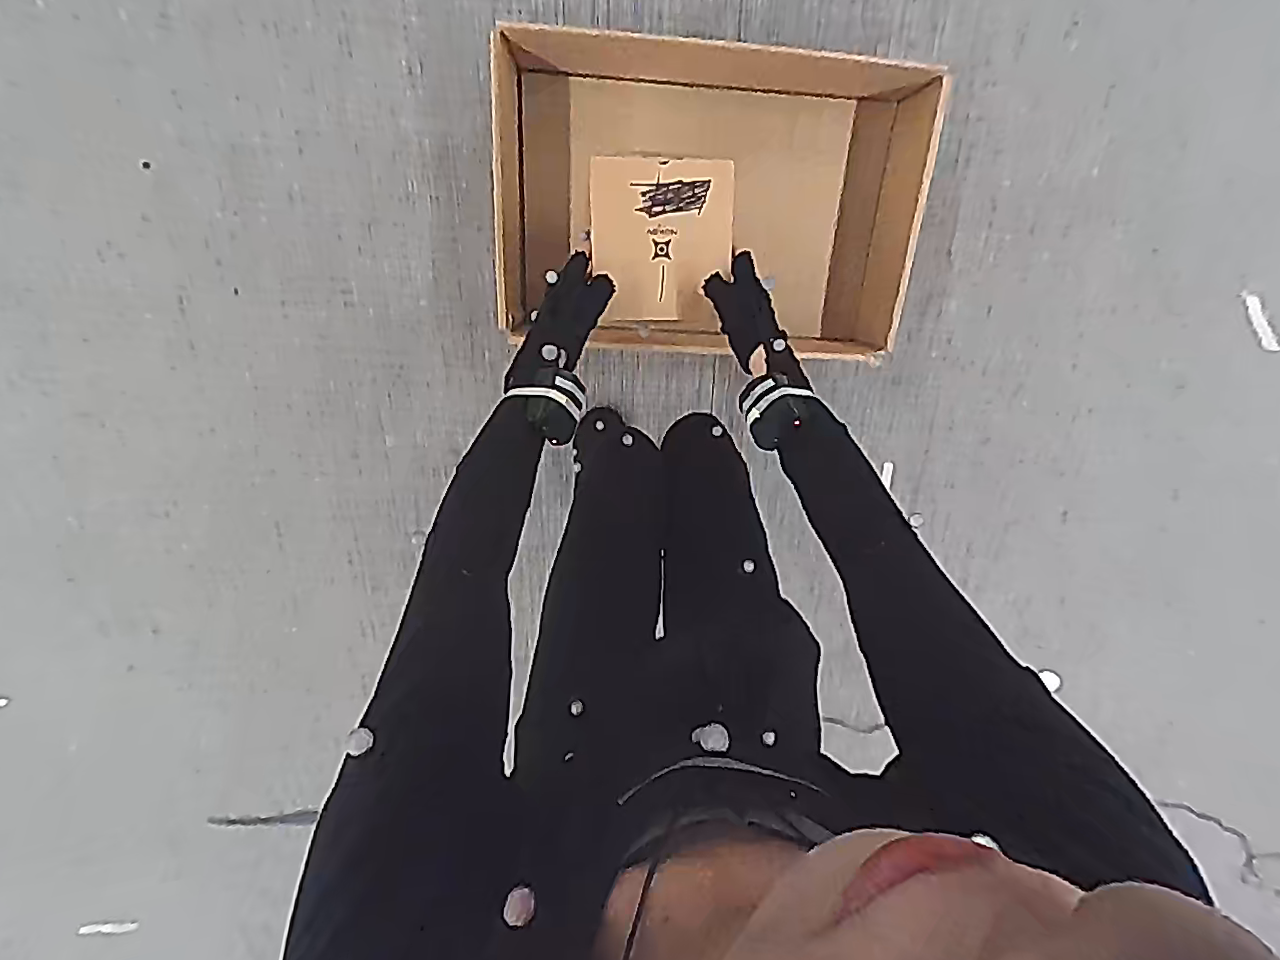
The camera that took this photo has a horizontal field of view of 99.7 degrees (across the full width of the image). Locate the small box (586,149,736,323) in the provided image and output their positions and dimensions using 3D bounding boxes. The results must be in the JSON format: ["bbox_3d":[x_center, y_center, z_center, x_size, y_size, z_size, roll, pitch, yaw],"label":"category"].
[{"bbox_3d":[0.018,-0.298,0.695,0.168,0.176,0.179,-3,104,-7],"label":"small box"}]
